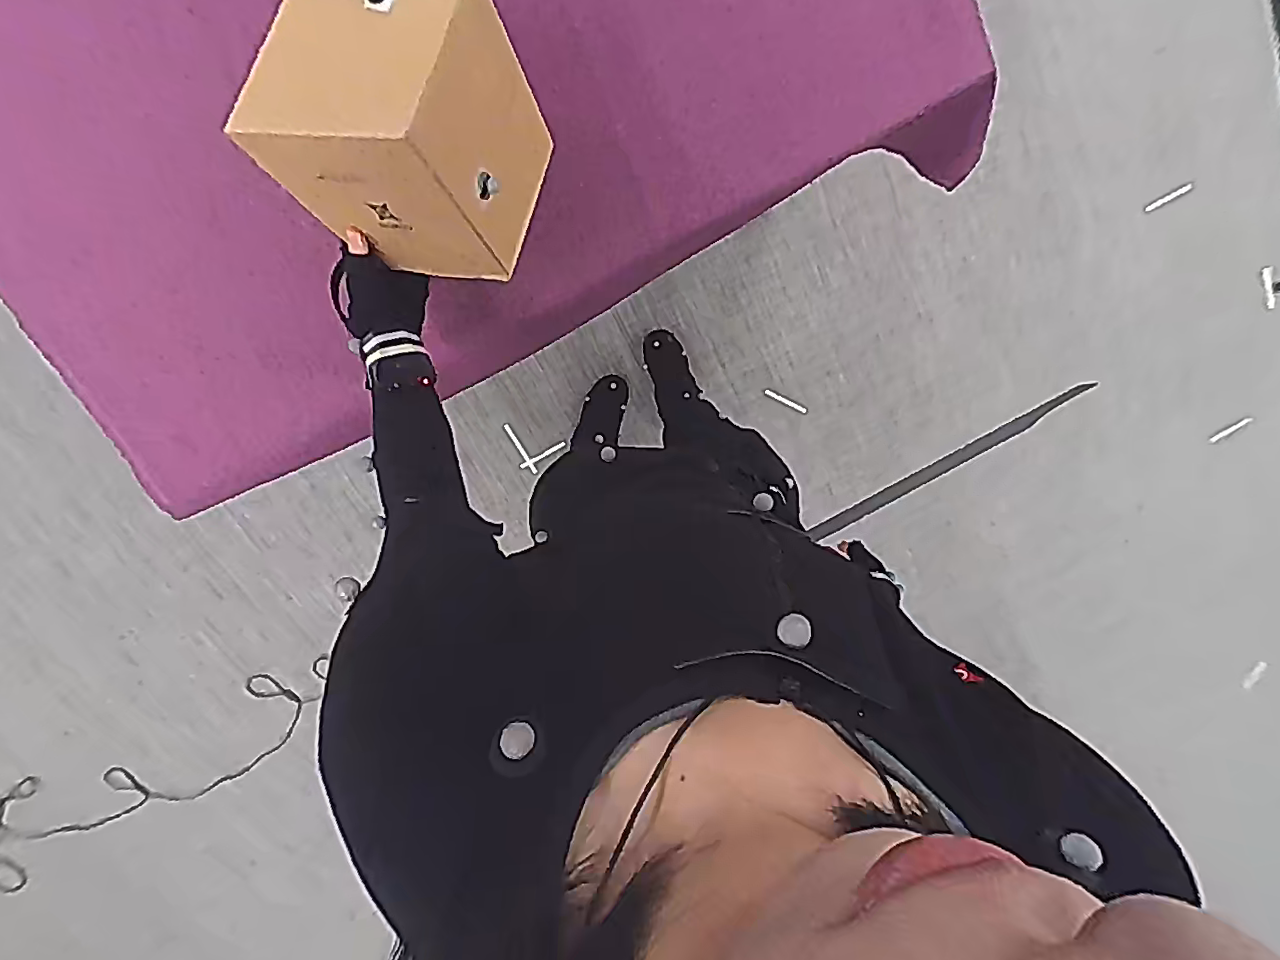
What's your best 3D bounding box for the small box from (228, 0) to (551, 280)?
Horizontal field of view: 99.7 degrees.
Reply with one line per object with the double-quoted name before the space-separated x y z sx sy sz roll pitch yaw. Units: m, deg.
"small box" -0.199 -0.309 0.483 0.168 0.179 0.176 11 79 16
